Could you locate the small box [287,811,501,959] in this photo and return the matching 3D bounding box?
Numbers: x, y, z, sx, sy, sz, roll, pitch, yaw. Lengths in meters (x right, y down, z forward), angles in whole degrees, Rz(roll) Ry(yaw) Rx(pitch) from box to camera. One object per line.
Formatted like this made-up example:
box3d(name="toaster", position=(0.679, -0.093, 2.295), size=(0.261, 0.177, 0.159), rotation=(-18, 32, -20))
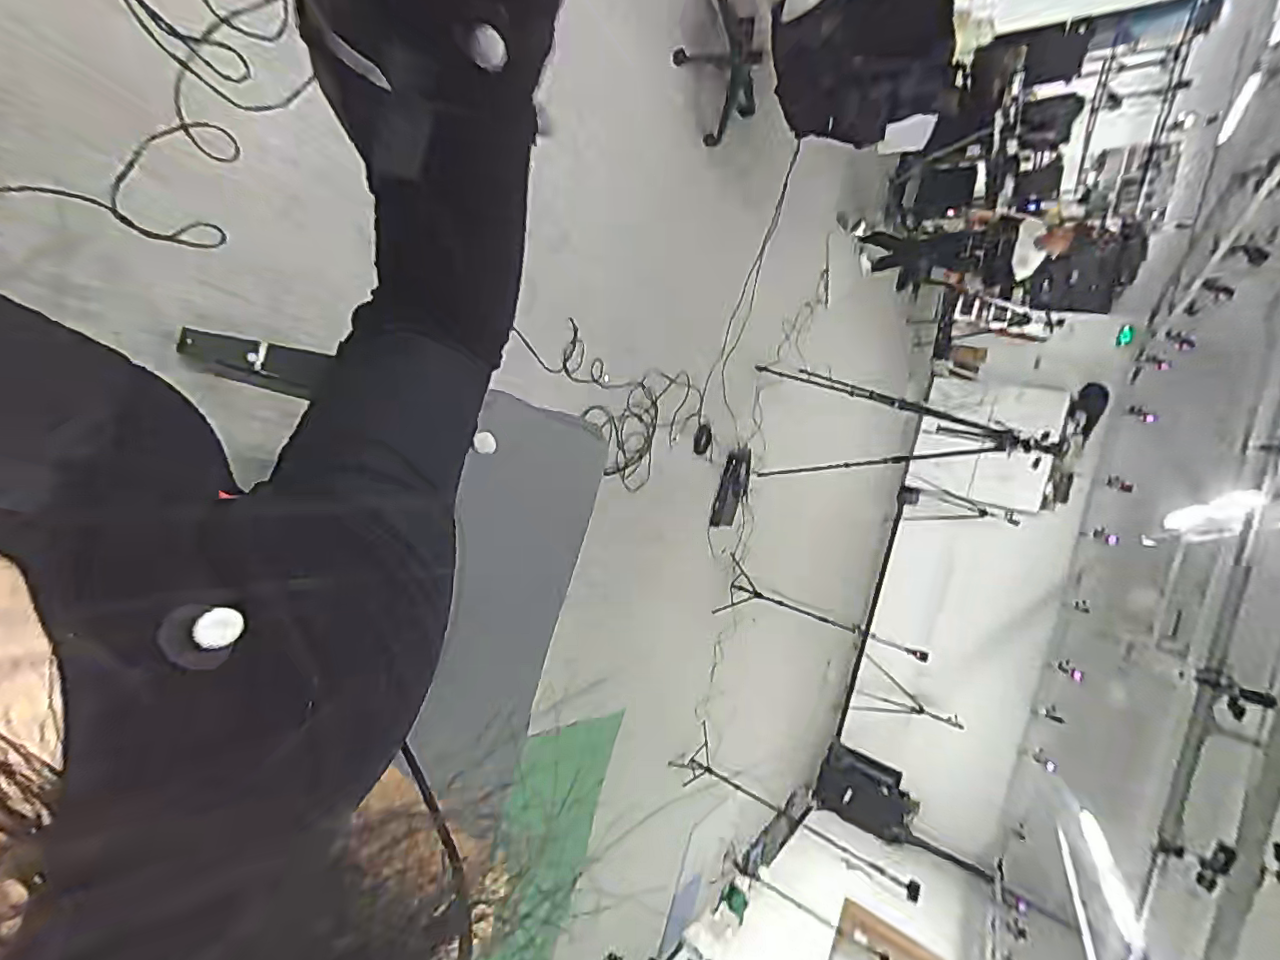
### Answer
box3d(name="small box", position=(-0.335, 0.591, 0.746), size=(0.179, 0.176, 0.168), rotation=(33, 74, -55))
